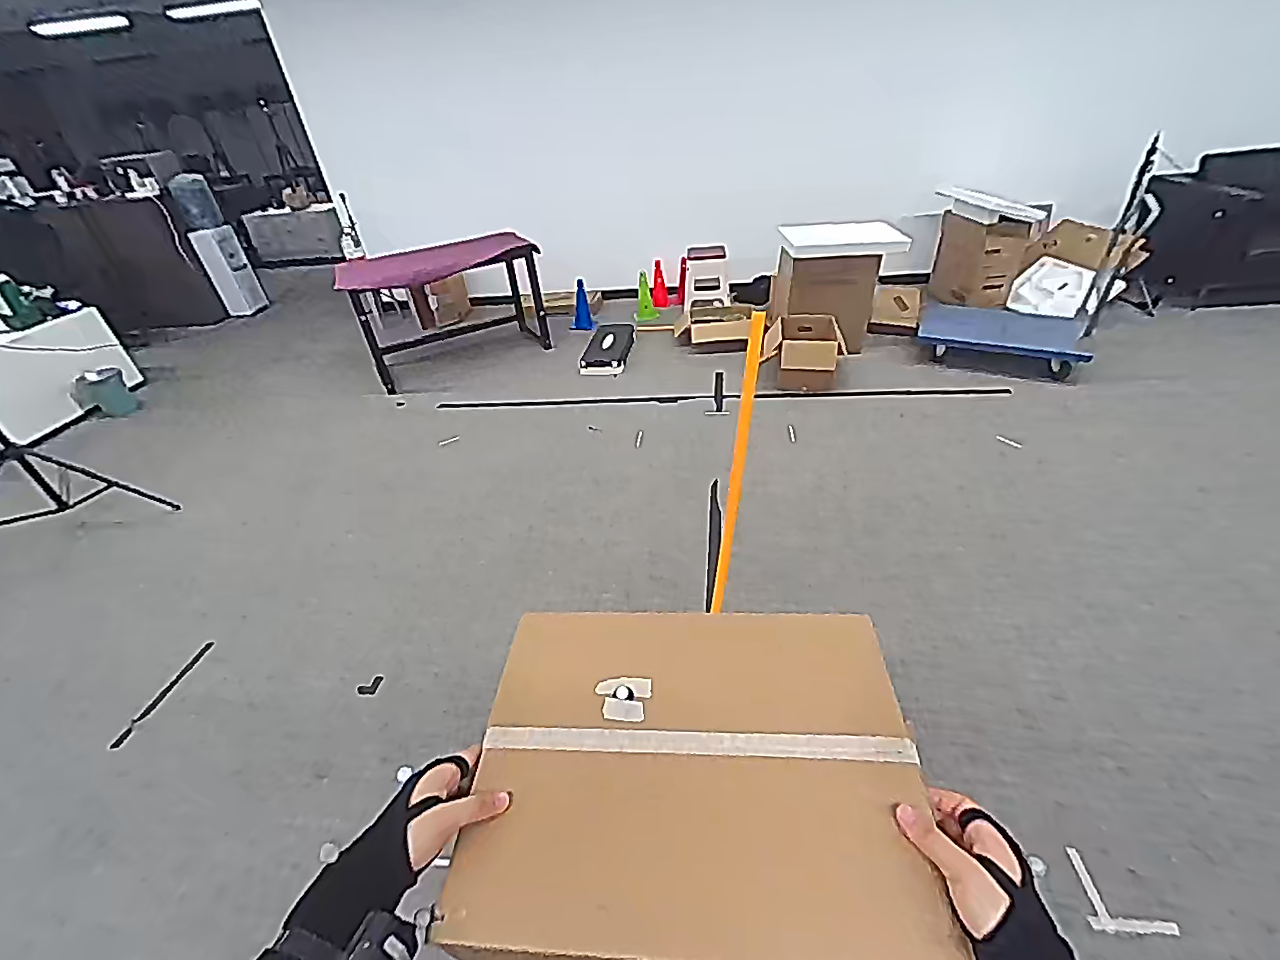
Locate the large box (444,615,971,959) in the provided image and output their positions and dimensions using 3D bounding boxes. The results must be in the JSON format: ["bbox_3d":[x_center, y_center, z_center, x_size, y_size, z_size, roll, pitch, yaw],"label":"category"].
[{"bbox_3d":[0.069,0.377,0.610,0.408,0.320,0.320,-3,37,8],"label":"large box"}]
